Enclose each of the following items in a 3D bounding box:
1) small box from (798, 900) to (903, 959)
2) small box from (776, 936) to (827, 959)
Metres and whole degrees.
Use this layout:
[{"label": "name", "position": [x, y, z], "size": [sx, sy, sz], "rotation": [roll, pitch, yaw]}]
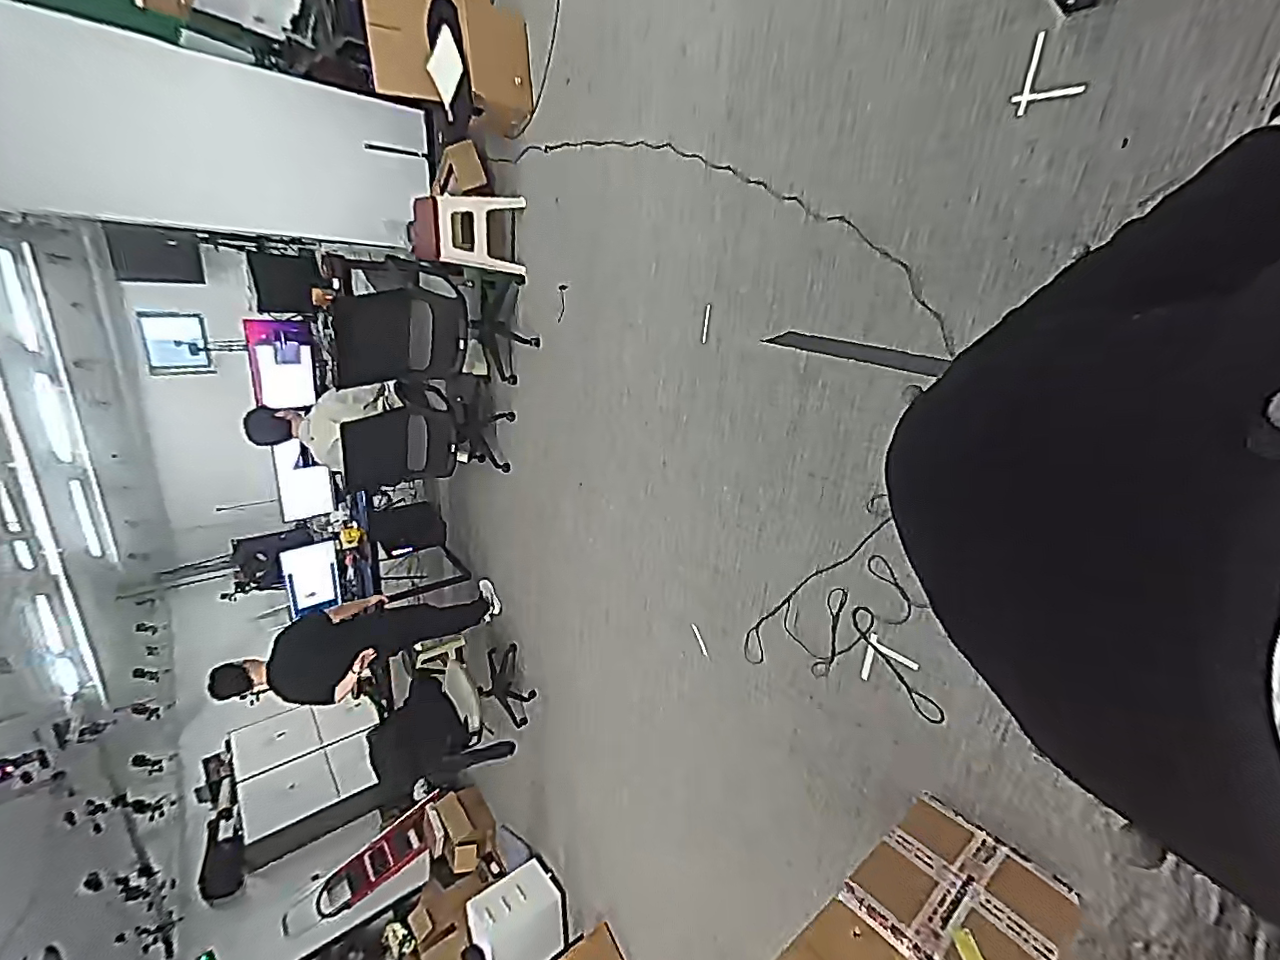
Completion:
[{"label": "small box", "position": [0.489, 1.153, 1.283], "size": [0.179, 0.176, 0.168], "rotation": [18, 109, 49]}, {"label": "small box", "position": [0.362, 1.165, 1.177], "size": [0.179, 0.176, 0.168], "rotation": [18, 109, 49]}]
